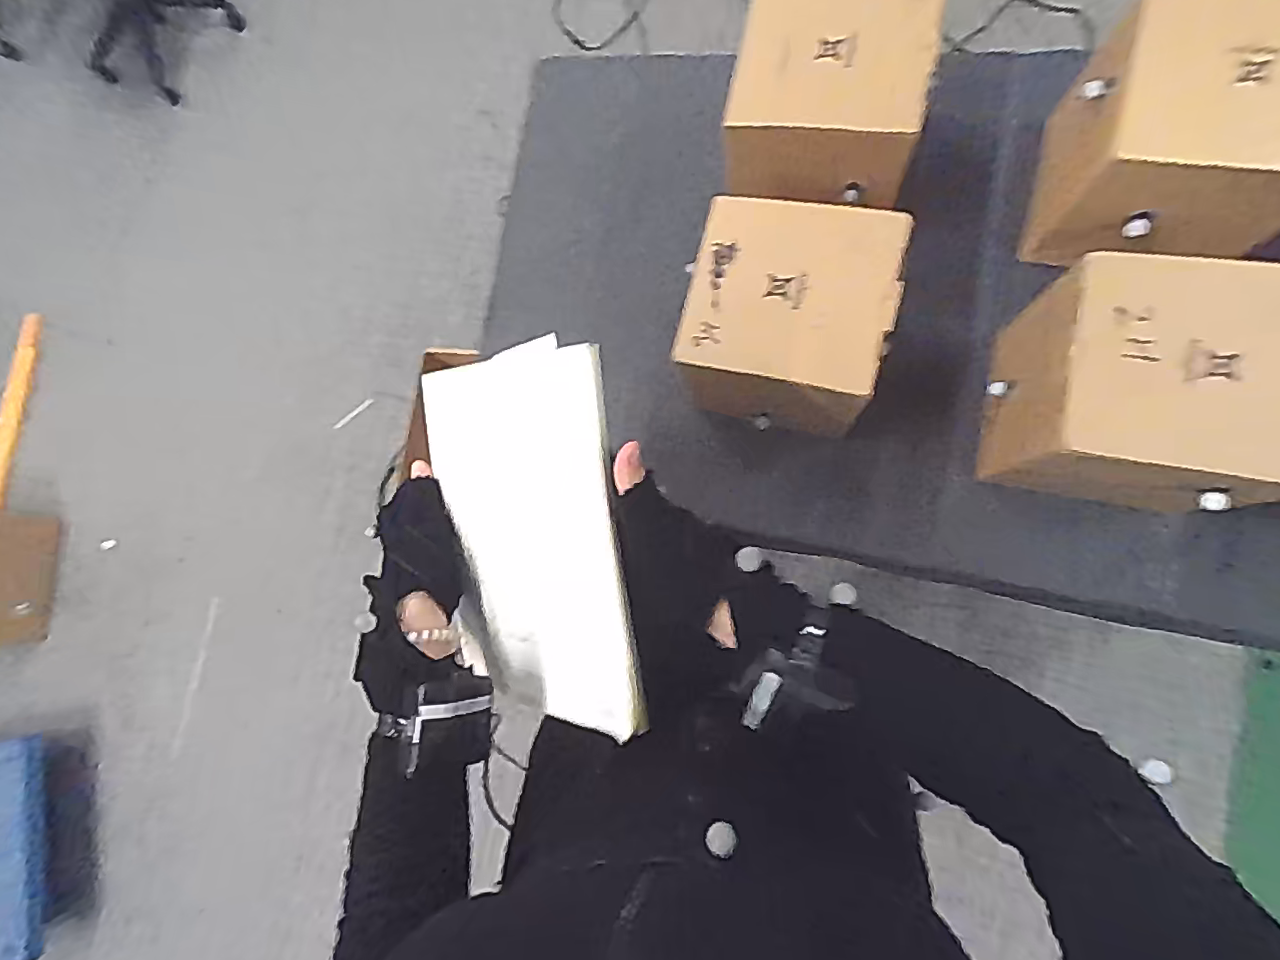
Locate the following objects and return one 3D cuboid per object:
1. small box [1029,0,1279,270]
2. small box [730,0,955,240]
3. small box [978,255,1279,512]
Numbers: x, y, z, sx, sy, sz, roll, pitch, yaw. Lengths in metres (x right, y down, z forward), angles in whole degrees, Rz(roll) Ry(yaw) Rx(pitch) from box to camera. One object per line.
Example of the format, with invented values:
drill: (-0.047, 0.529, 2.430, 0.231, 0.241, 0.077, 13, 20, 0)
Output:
small box: (0.500, -0.307, 0.504, 0.168, 0.176, 0.179, 14, 85, 15)
small box: (0.203, -0.383, 0.580, 0.179, 0.176, 0.168, 13, 84, 14)
small box: (0.438, -0.070, 0.478, 0.179, 0.176, 0.168, 12, 83, 13)
